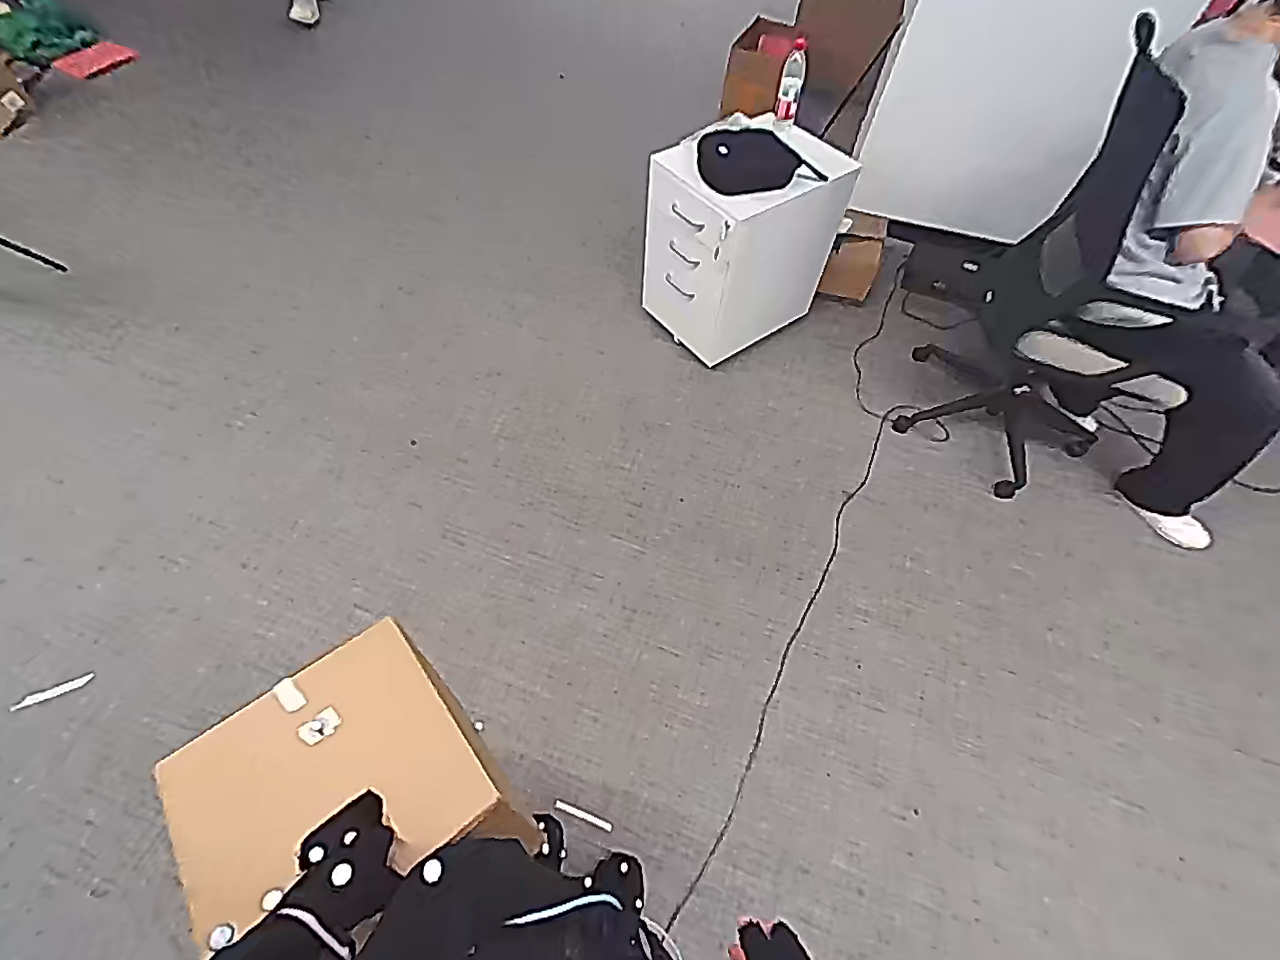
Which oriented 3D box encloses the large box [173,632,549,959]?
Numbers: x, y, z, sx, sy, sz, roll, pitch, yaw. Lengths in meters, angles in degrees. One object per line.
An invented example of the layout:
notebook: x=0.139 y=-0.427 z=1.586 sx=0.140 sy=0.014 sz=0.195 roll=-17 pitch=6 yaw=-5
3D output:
large box: x=-0.372 y=0.499 z=0.807 sx=0.320 sy=0.408 sz=0.320 roll=-31 pitch=57 yaw=-23
